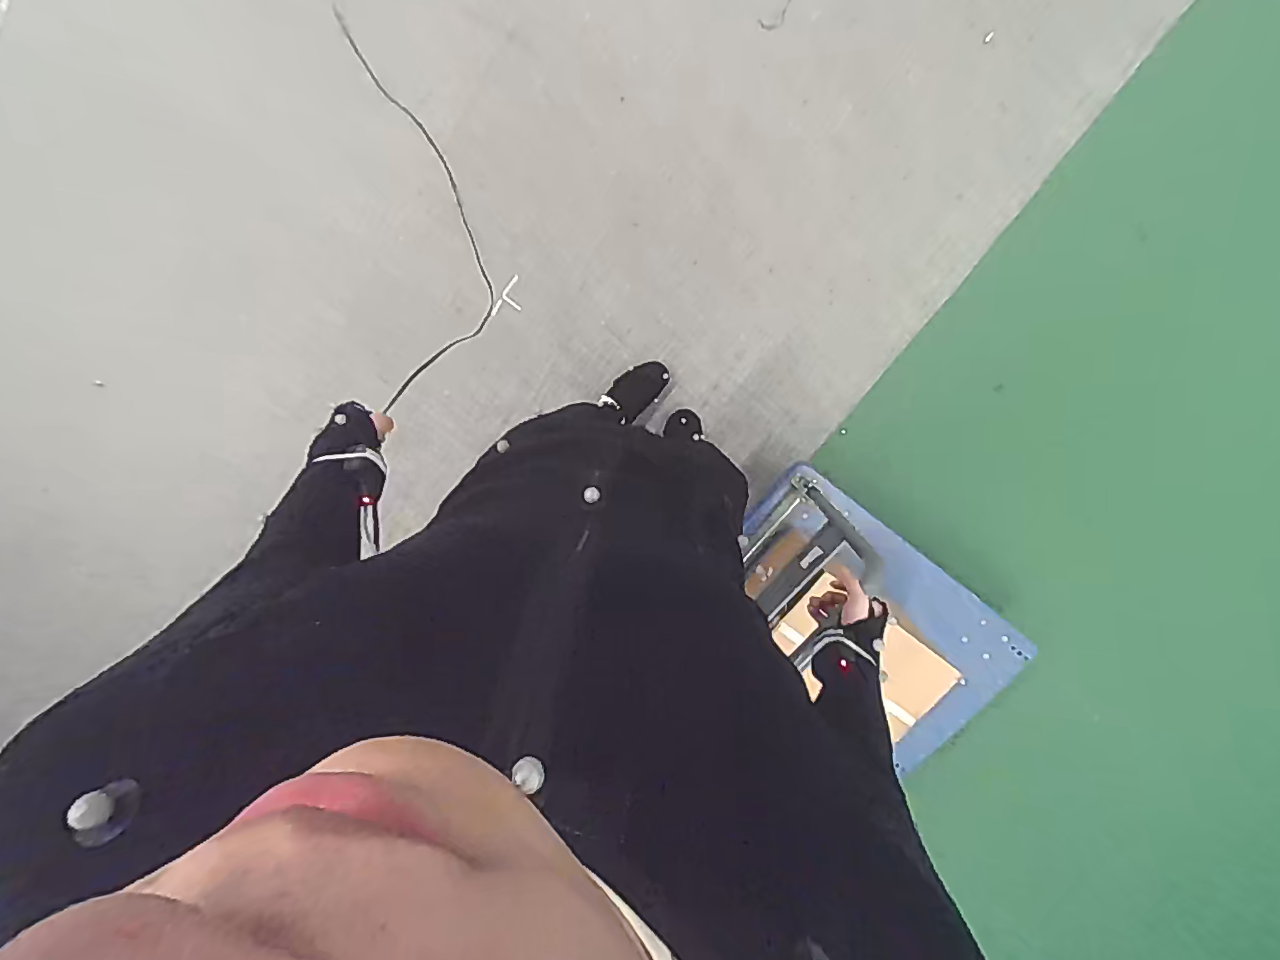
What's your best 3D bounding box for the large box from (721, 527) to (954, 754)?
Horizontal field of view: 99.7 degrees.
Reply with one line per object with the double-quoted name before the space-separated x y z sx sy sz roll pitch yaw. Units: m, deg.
"large box" 0.465 0.384 1.370 0.408 0.320 0.320 37 103 -6
